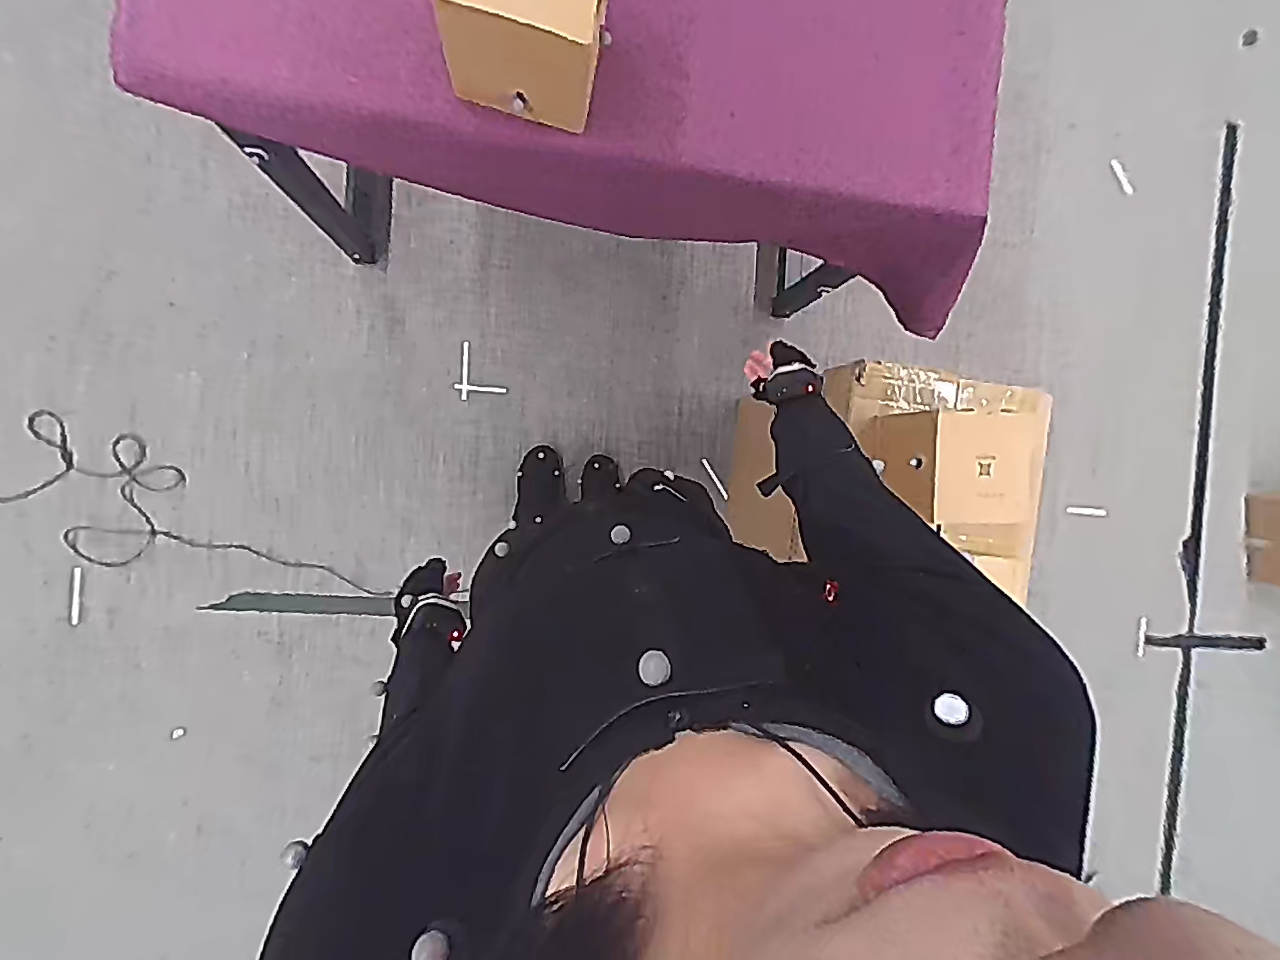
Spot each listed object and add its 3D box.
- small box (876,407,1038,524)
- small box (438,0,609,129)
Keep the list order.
[{"bbox_3d":[0.512,-0.023,0.895,0.168,0.176,0.179,1,93,-8],"label":"small box"},{"bbox_3d":[-0.132,-0.577,0.667,0.179,0.176,0.168,11,89,-10],"label":"small box"}]
